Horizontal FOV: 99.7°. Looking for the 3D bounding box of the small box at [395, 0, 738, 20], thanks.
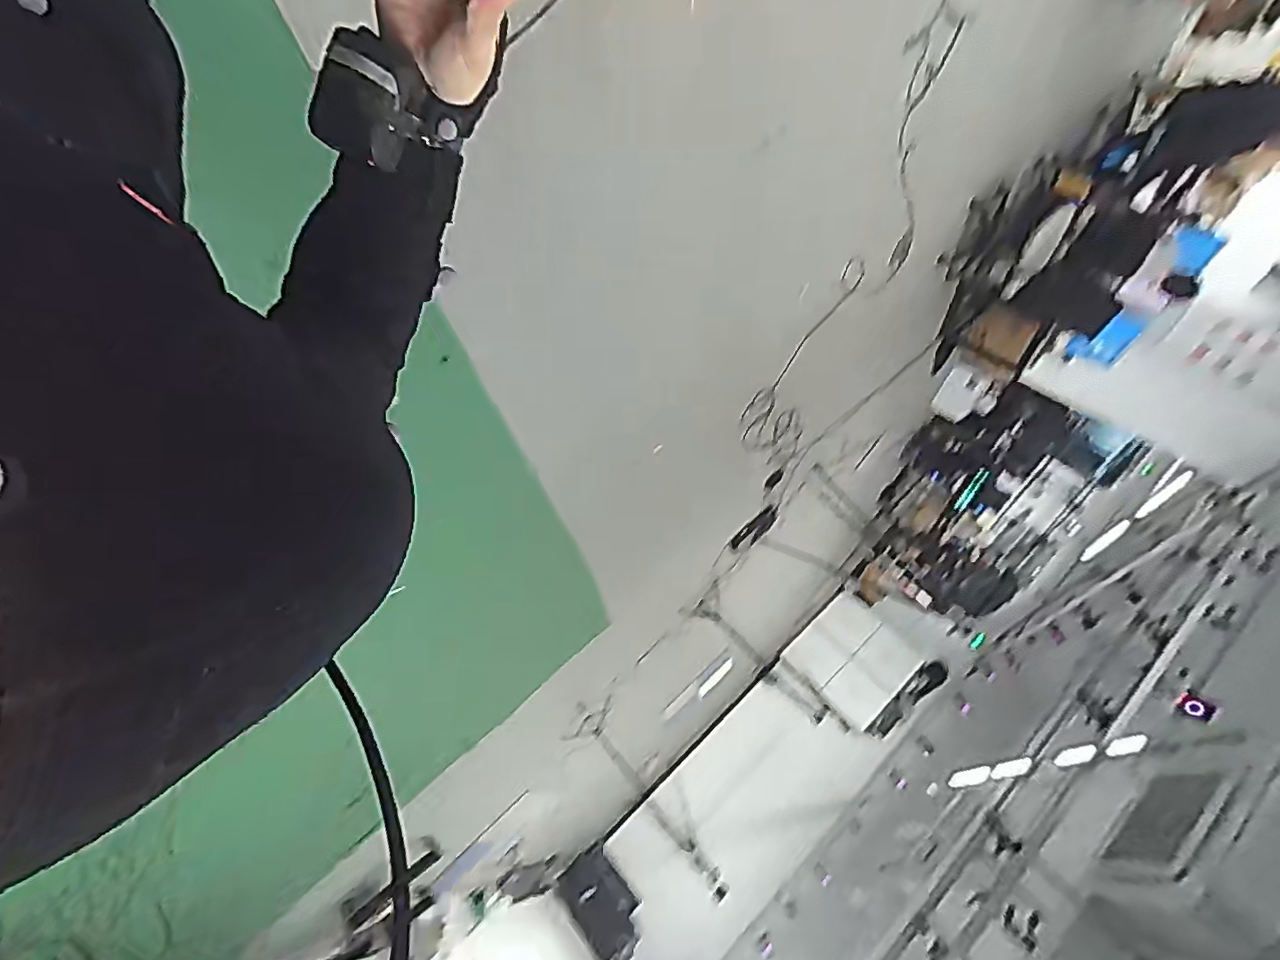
[{"bbox_3d":[-0.052,-0.298,0.198,0.168,0.176,0.179,-55,152,-51],"label":"small box"}]
